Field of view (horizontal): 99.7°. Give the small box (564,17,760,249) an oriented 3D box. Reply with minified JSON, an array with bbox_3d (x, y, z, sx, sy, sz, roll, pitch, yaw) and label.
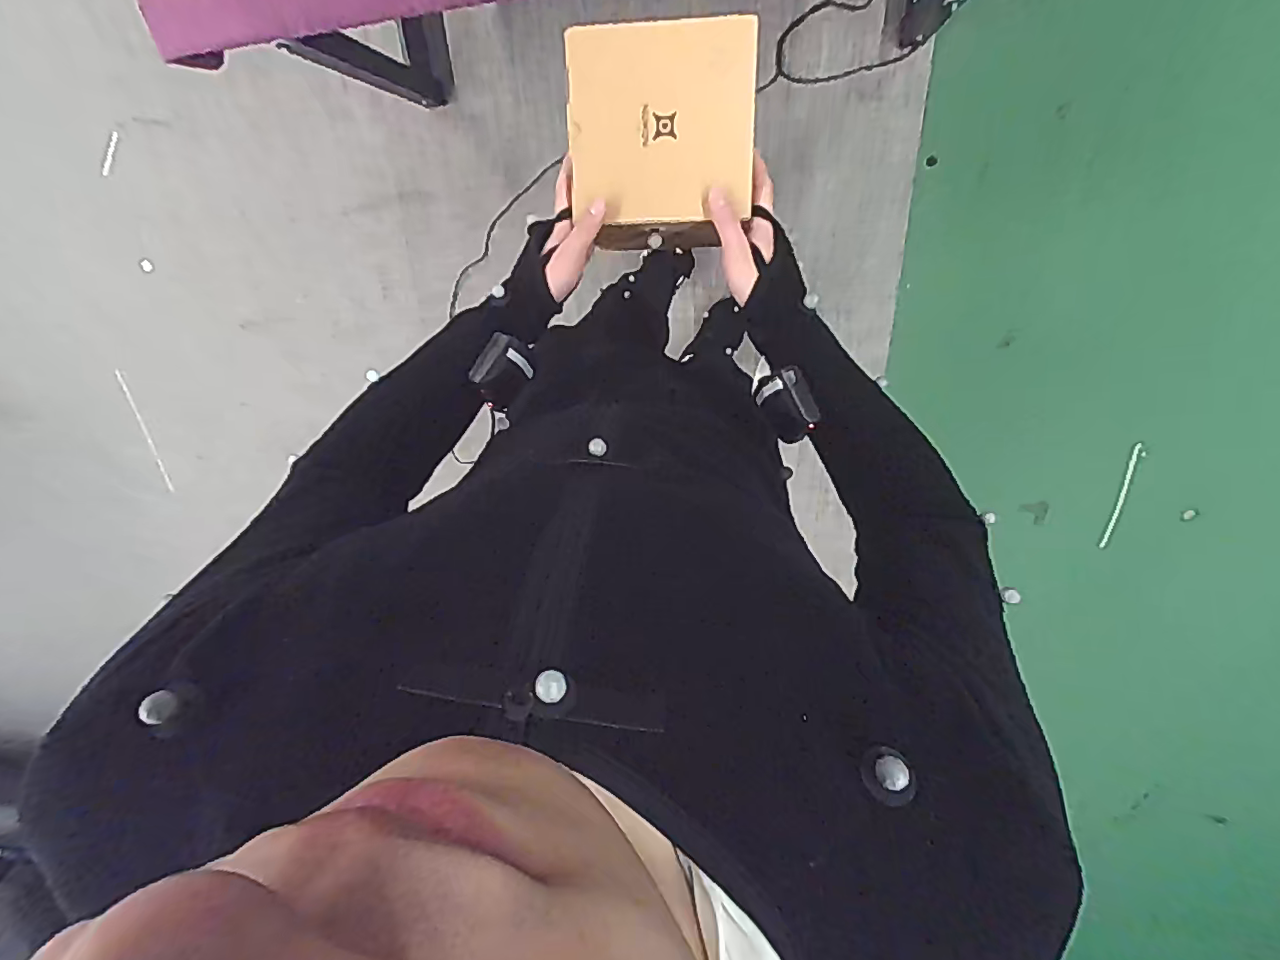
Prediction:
[{"bbox_3d":[0.027,-0.346,0.574,0.179,0.176,0.168,1,106,7],"label":"small box"}]
